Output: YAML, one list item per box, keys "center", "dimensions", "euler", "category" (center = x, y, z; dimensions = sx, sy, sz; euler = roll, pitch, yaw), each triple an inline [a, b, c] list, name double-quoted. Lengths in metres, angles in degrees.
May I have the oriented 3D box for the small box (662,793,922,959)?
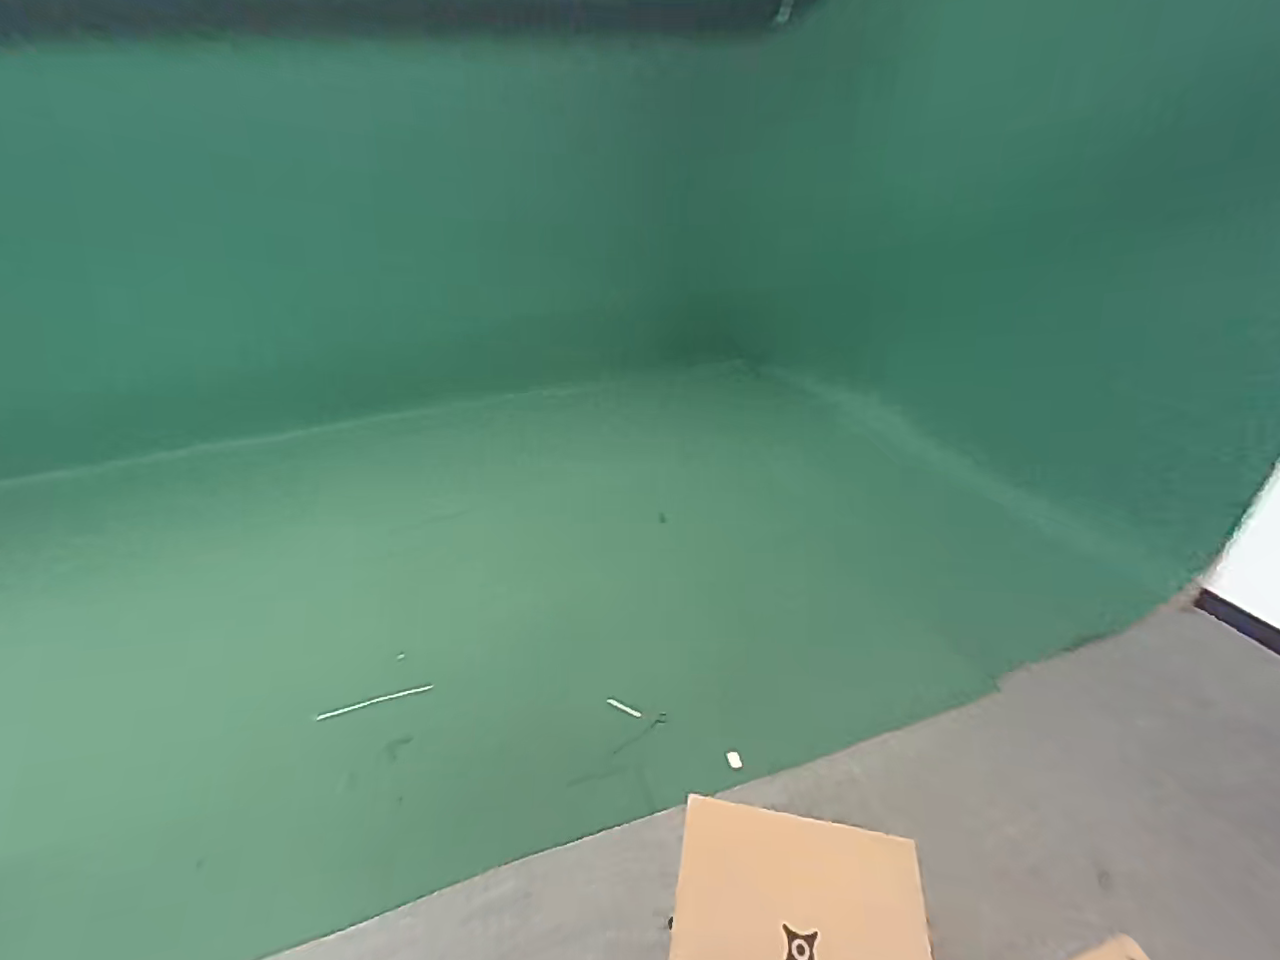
- center: [0.100, 0.367, 0.399]
  dimensions: [0.168, 0.176, 0.179]
  euler: [5, 45, 11]
  category: "small box"
